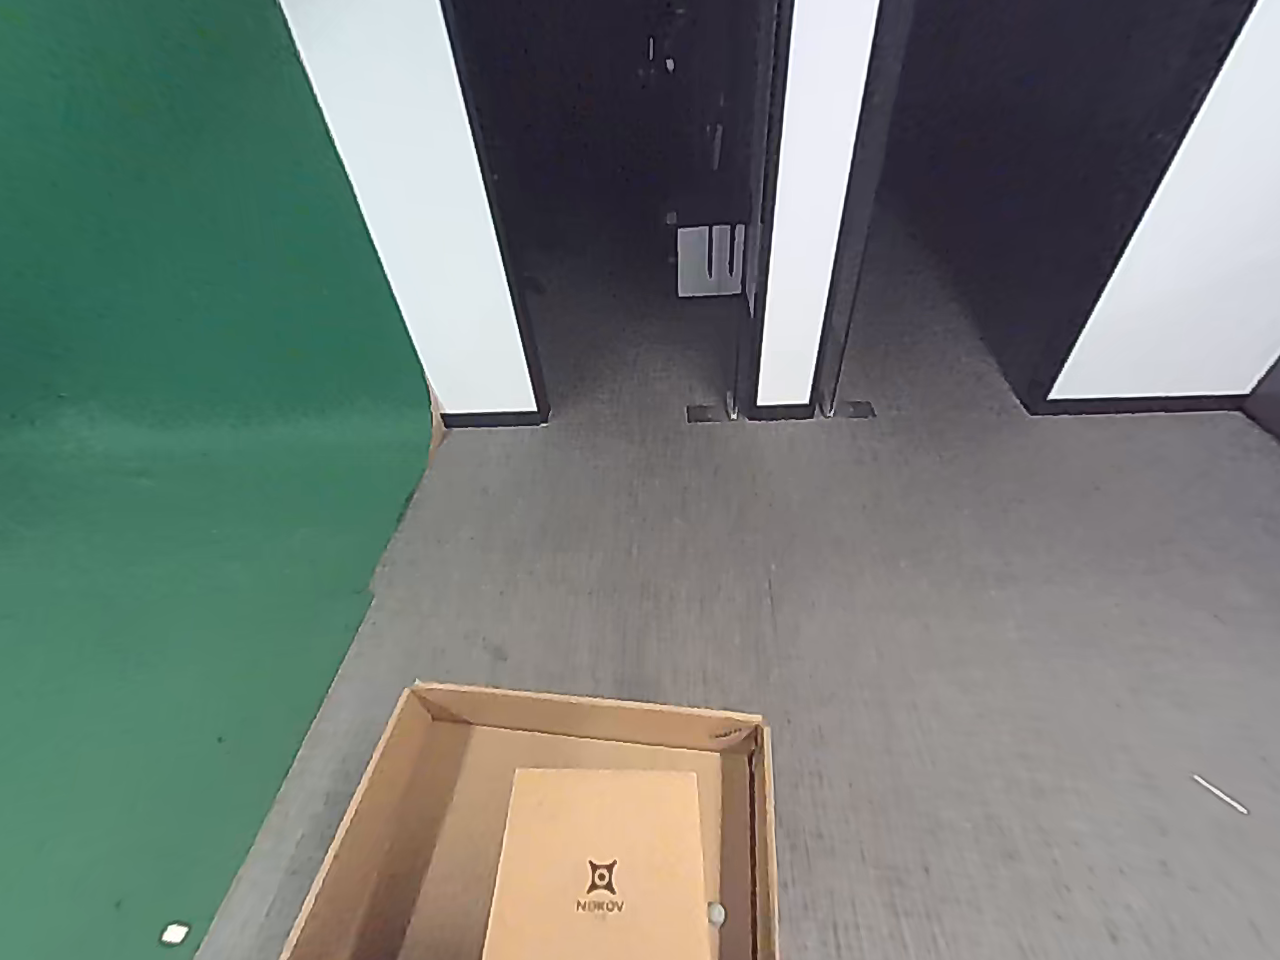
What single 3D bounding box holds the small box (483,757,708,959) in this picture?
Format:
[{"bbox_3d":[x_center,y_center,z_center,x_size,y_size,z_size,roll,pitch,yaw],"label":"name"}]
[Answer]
[{"bbox_3d":[-0.034,0.375,0.482,0.168,0.176,0.179,1,38,-1],"label":"small box"}]
